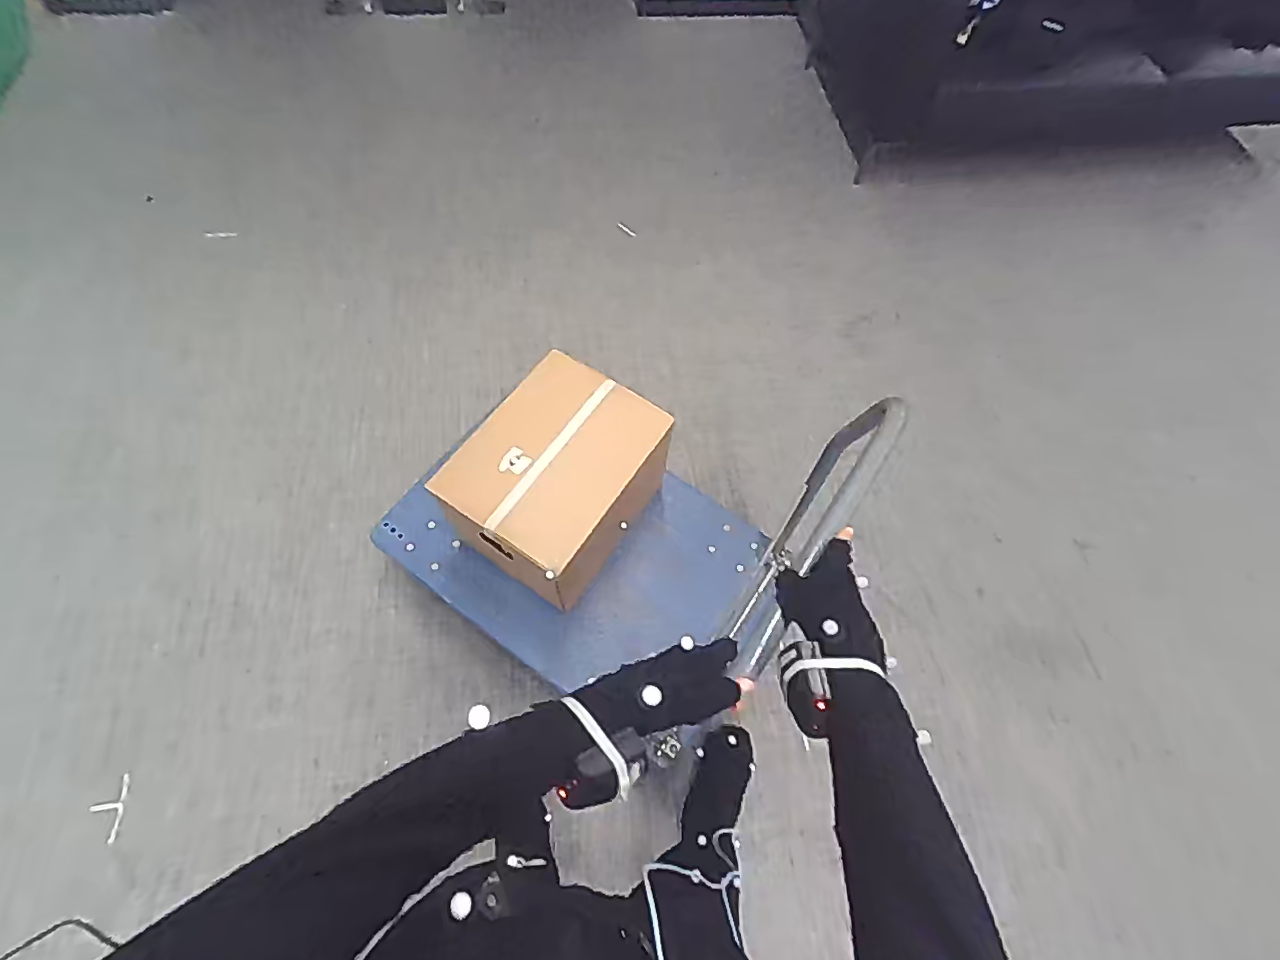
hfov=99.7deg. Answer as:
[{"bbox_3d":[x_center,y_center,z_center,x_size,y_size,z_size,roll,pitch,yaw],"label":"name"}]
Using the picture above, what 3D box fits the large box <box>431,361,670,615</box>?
[{"bbox_3d":[-0.172,0.025,1.201,0.320,0.320,0.408,31,67,12],"label":"large box"}]
